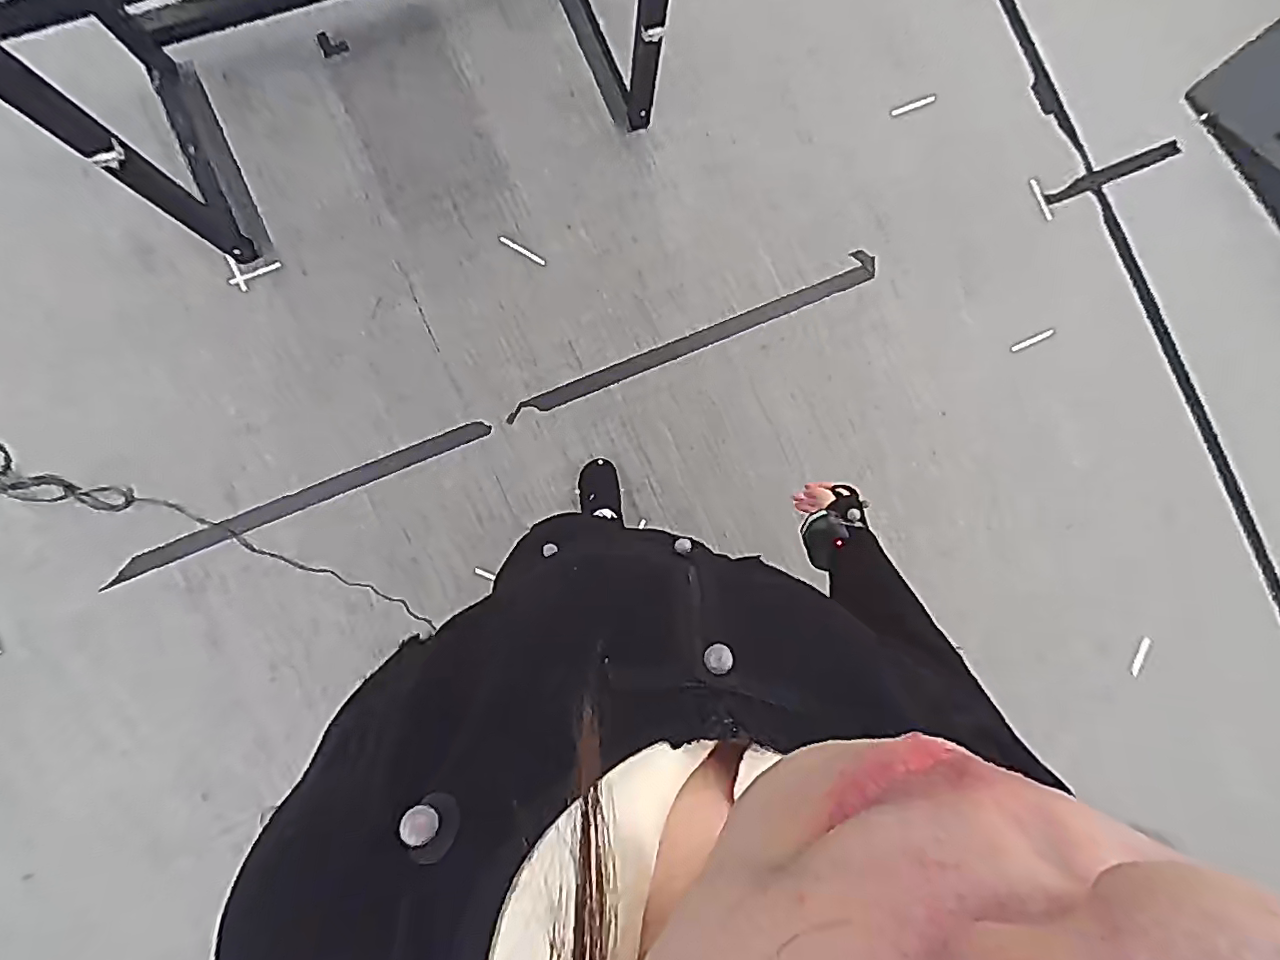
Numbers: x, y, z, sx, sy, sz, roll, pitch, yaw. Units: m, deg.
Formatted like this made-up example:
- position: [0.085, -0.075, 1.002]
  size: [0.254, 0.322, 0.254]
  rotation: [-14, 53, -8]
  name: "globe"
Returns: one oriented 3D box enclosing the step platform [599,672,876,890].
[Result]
- position: [0.243, 0.753, 1.390]
  size: [0.684, 0.204, 0.286]
  rotation: [-18, 89, -7]
  name: "step platform"
